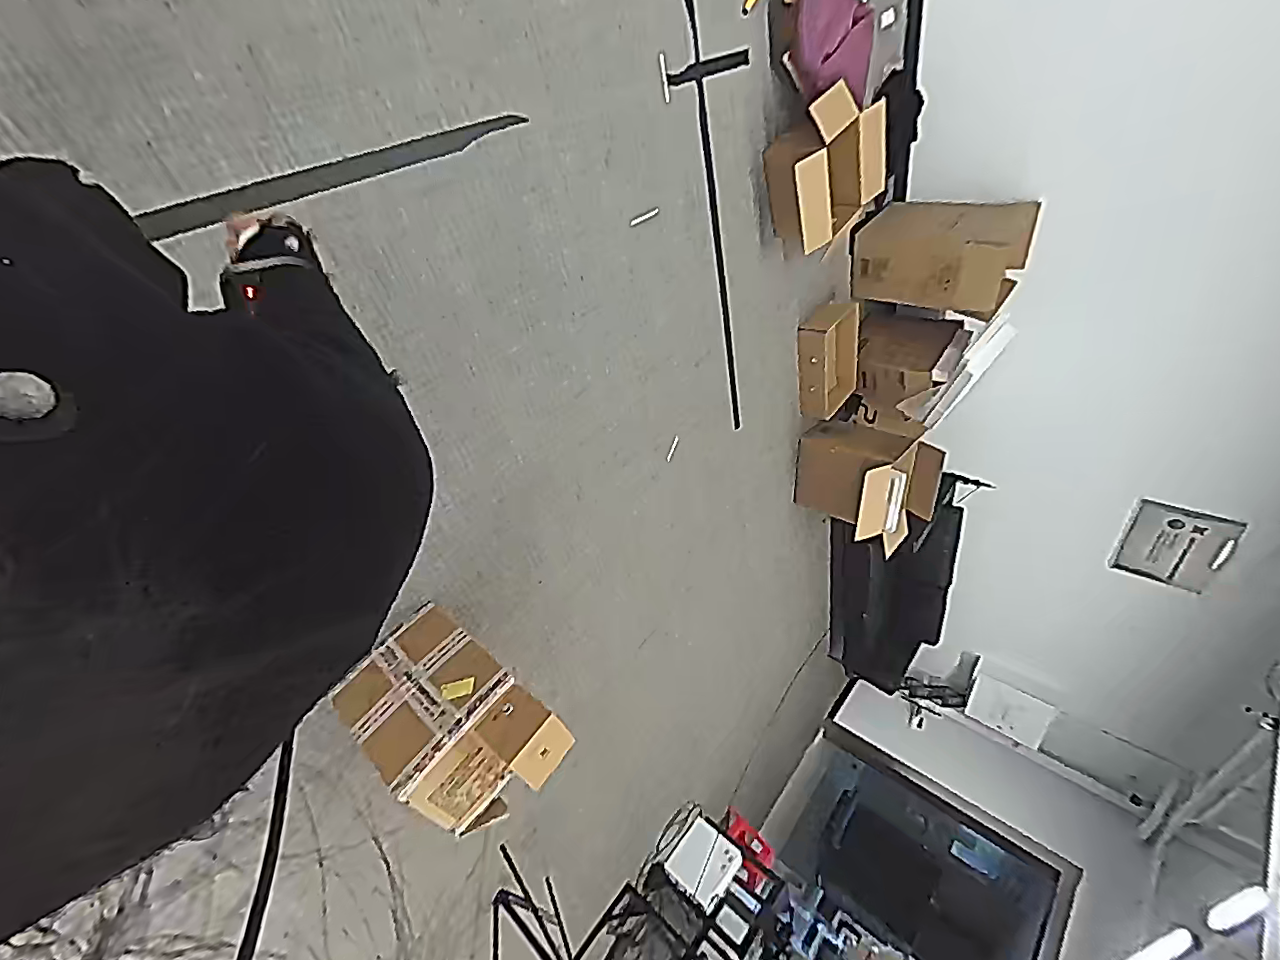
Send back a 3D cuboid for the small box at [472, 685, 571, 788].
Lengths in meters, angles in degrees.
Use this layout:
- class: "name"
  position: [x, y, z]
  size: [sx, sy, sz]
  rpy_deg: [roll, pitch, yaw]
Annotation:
- class: "small box"
  position: [-0.328, 0.705, 1.500]
  size: [0.168, 0.176, 0.179]
  rpy_deg: [-47, 133, -28]
